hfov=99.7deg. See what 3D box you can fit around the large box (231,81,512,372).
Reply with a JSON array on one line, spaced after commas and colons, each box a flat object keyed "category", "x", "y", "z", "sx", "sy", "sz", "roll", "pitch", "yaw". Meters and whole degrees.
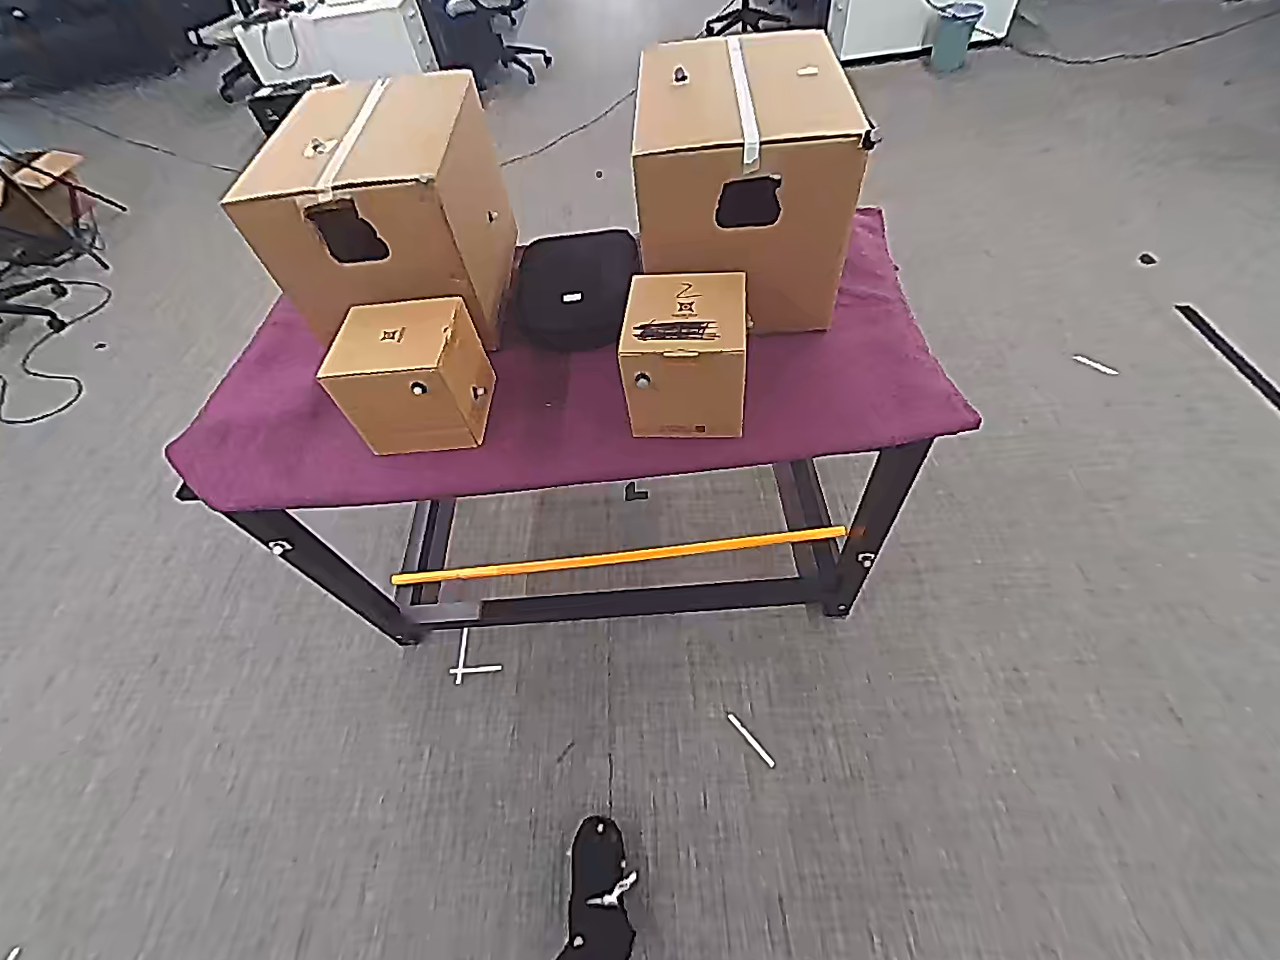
[{"category": "large box", "x": -0.434, "y": -0.462, "z": 0.994, "sx": 0.320, "sy": 0.320, "sz": 0.408, "roll": -6, "pitch": 56, "yaw": 3}]
